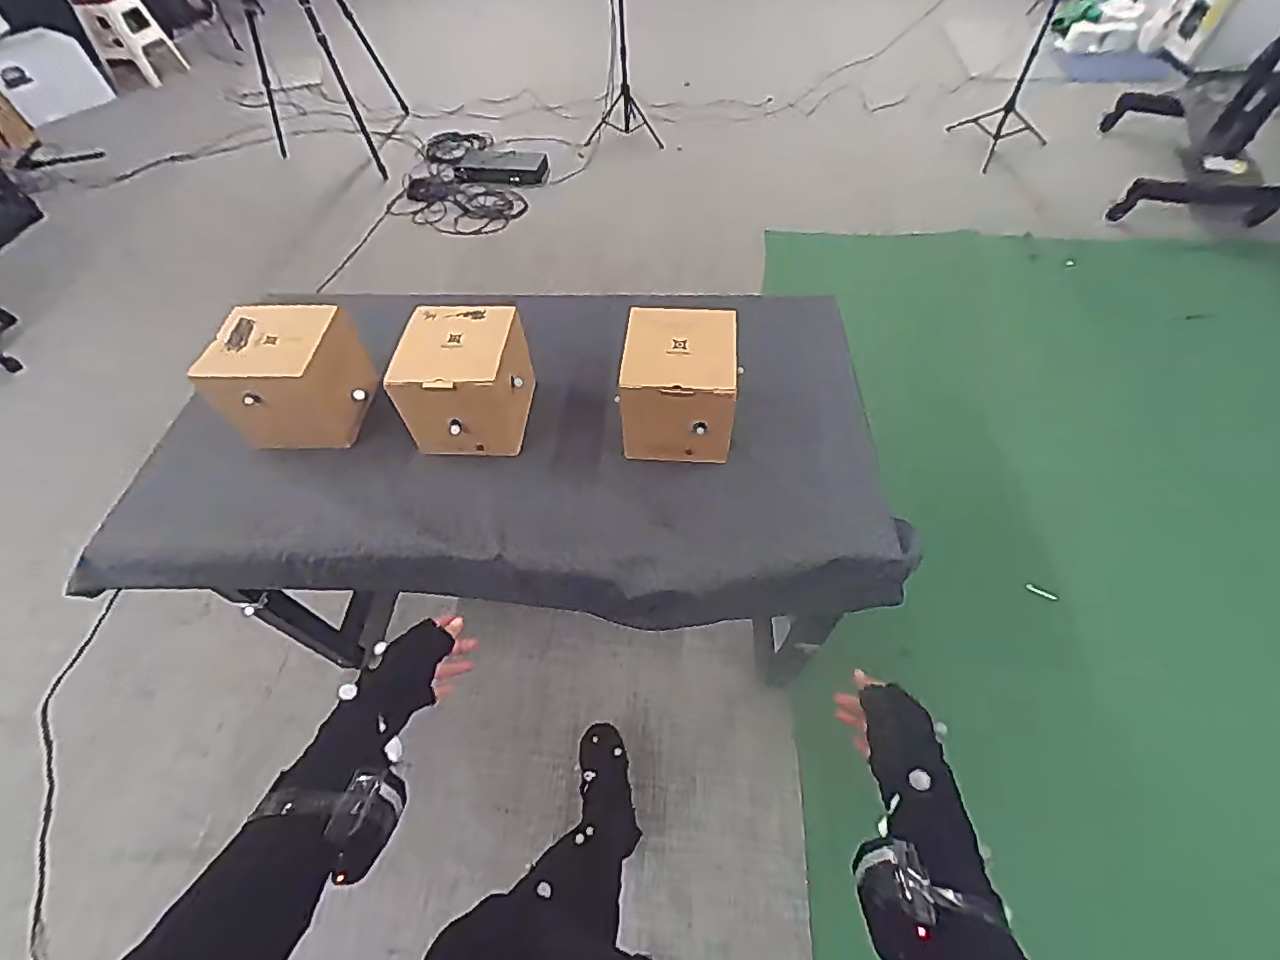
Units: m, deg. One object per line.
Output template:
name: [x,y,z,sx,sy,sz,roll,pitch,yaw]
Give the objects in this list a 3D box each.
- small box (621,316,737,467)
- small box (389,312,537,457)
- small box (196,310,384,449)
small box: [0.064,-0.138,0.864,0.168,0.176,0.179,4,53,4]
small box: [-0.274,-0.153,0.886,0.168,0.176,0.179,2,55,3]
small box: [-0.567,-0.164,0.904,0.179,0.176,0.168,1,55,1]
